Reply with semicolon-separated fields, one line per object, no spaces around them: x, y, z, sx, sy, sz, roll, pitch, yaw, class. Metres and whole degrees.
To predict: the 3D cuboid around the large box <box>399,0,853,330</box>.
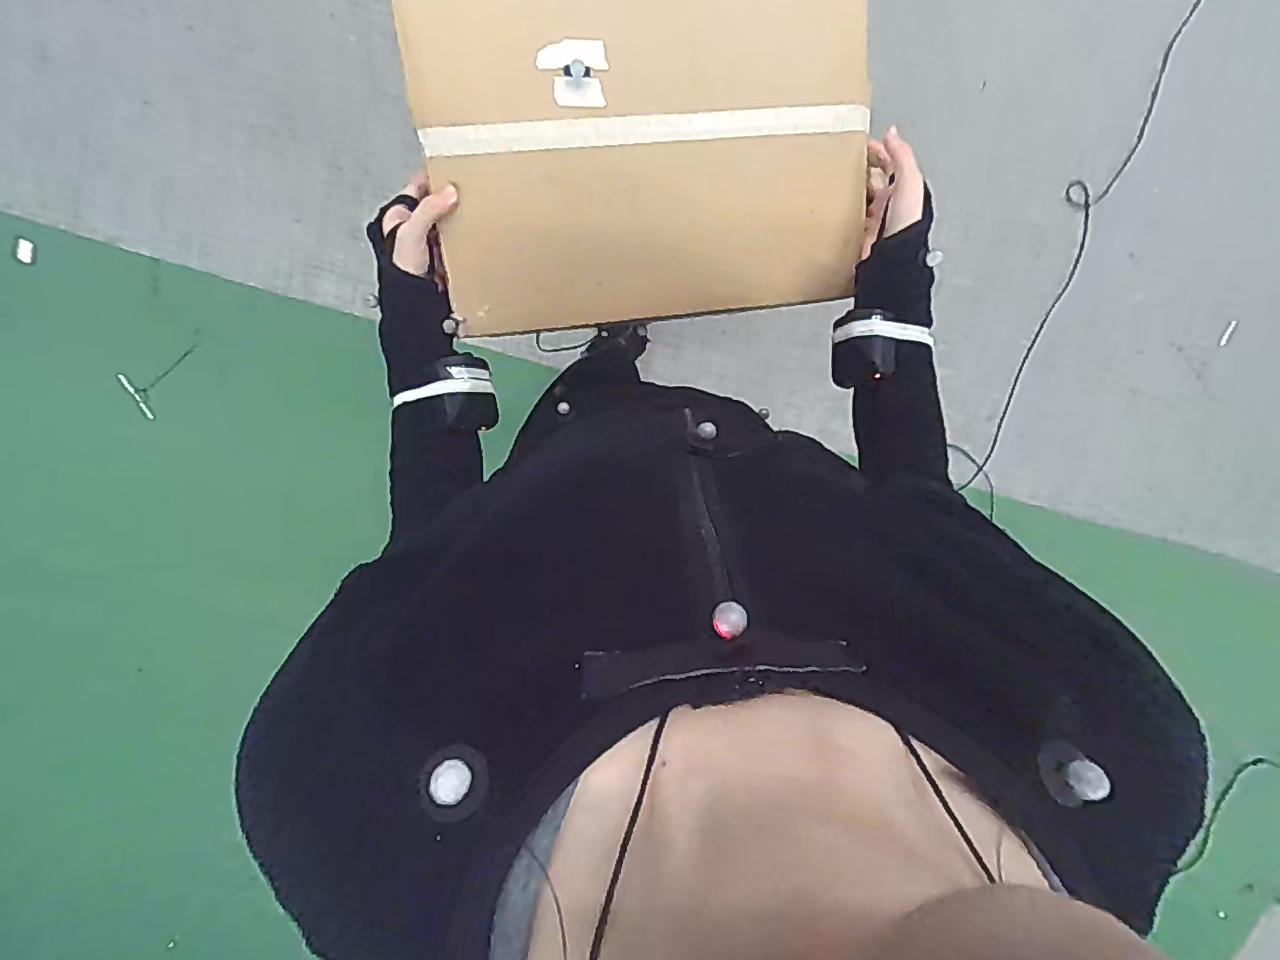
-0.014;-0.358;0.636;0.408;0.320;0.320;-8;106;-8;large box
